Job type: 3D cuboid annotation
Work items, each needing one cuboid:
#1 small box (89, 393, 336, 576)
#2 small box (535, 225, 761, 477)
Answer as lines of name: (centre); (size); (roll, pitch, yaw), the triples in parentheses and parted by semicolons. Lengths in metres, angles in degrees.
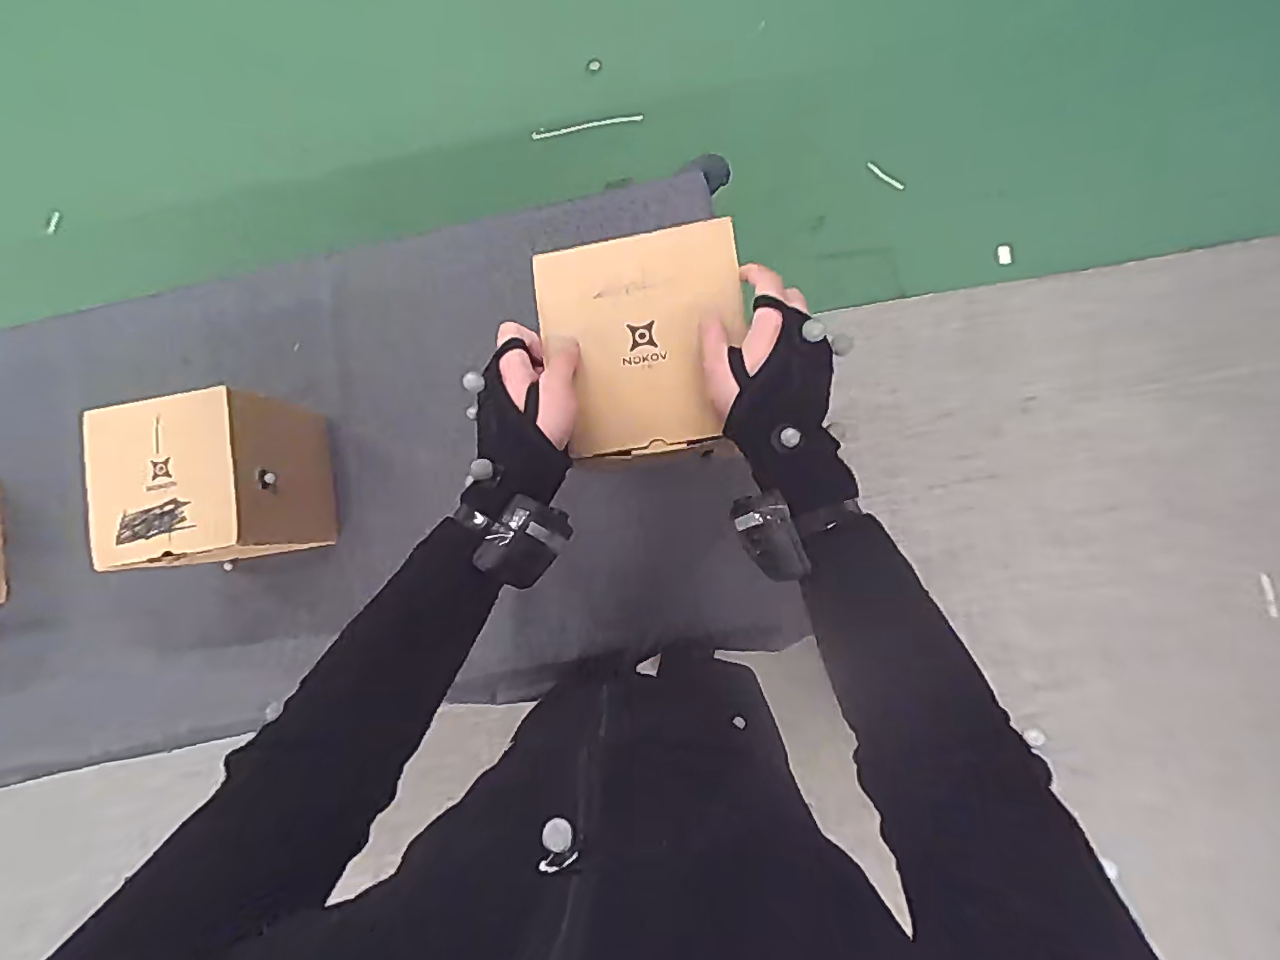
small box: (-0.496, 0.011, 0.651); (0.168, 0.176, 0.179); (-10, 84, 3)
small box: (0.015, -0.100, 0.509); (0.168, 0.176, 0.179); (-9, 84, 7)
